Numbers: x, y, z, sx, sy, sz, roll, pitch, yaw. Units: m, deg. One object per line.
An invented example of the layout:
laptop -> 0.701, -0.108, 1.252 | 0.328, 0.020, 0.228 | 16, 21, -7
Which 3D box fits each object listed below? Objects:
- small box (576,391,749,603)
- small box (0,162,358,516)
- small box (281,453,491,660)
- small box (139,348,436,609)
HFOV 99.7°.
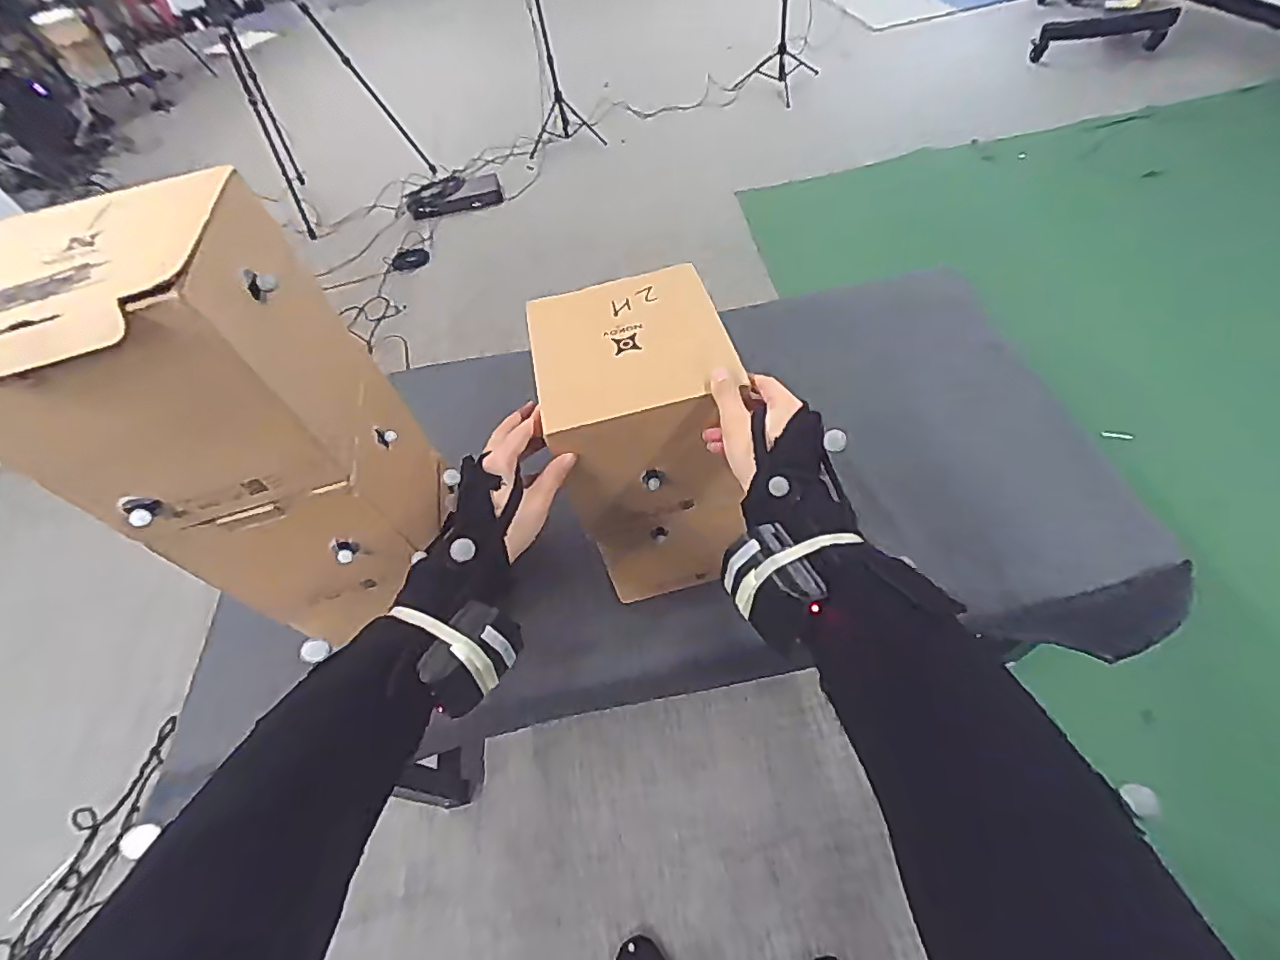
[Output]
small box -> 0.026, 0.024, 0.663 | 0.168, 0.176, 0.179 | -14, 52, -1
small box -> -0.330, -0.093, 0.395 | 0.168, 0.176, 0.179 | -16, 52, -5
small box -> -0.289, 0.101, 0.655 | 0.168, 0.176, 0.179 | -15, 52, -3
small box -> -0.310, 0.007, 0.524 | 0.168, 0.176, 0.179 | -15, 51, -4
